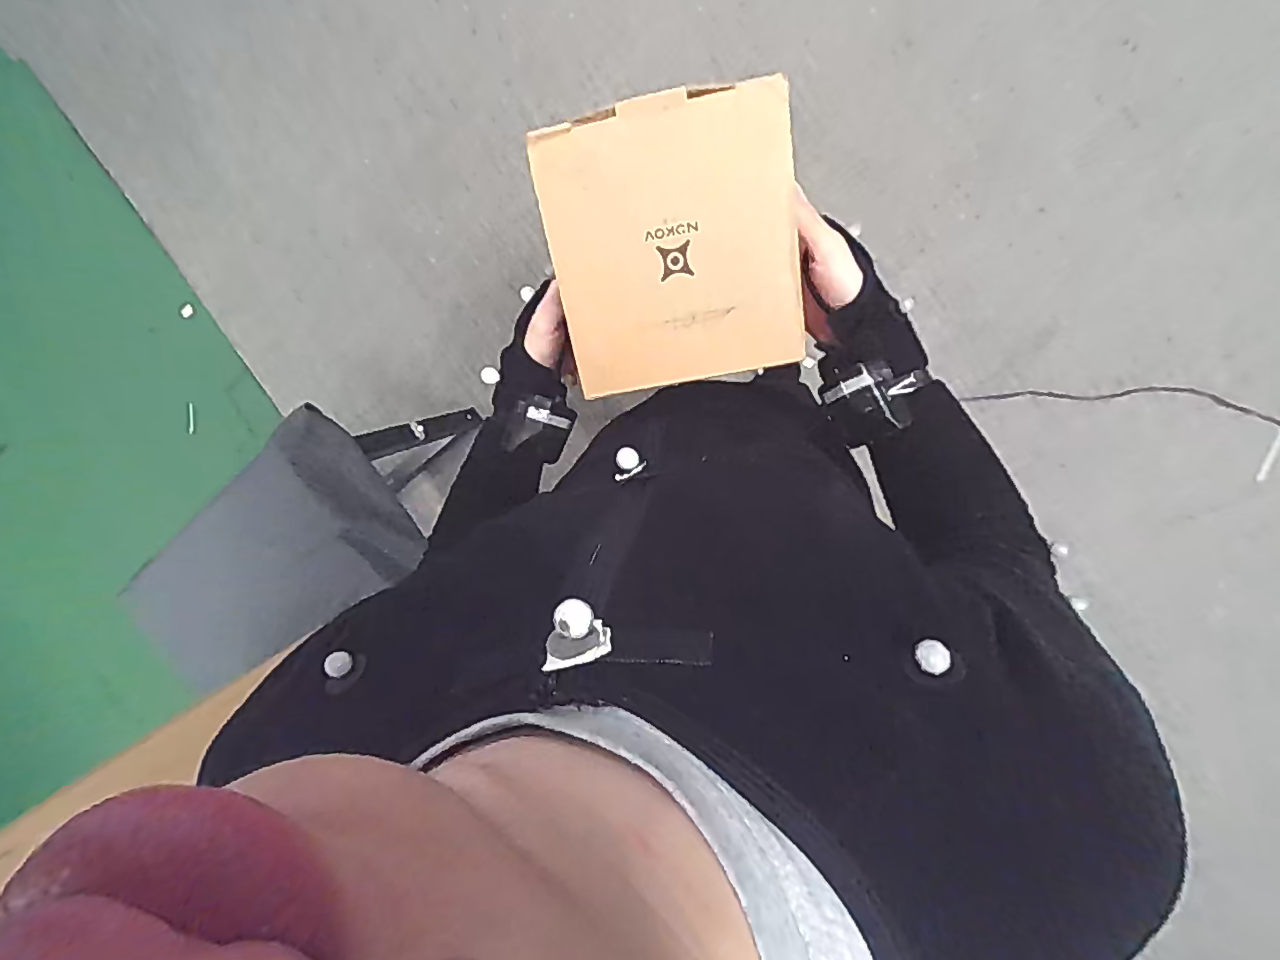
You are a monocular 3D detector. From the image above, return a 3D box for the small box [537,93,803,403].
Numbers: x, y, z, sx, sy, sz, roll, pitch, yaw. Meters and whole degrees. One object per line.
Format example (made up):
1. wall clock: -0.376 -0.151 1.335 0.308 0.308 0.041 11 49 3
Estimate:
1. small box: 0.027 -0.179 0.442 0.168 0.176 0.179 -8 114 6
